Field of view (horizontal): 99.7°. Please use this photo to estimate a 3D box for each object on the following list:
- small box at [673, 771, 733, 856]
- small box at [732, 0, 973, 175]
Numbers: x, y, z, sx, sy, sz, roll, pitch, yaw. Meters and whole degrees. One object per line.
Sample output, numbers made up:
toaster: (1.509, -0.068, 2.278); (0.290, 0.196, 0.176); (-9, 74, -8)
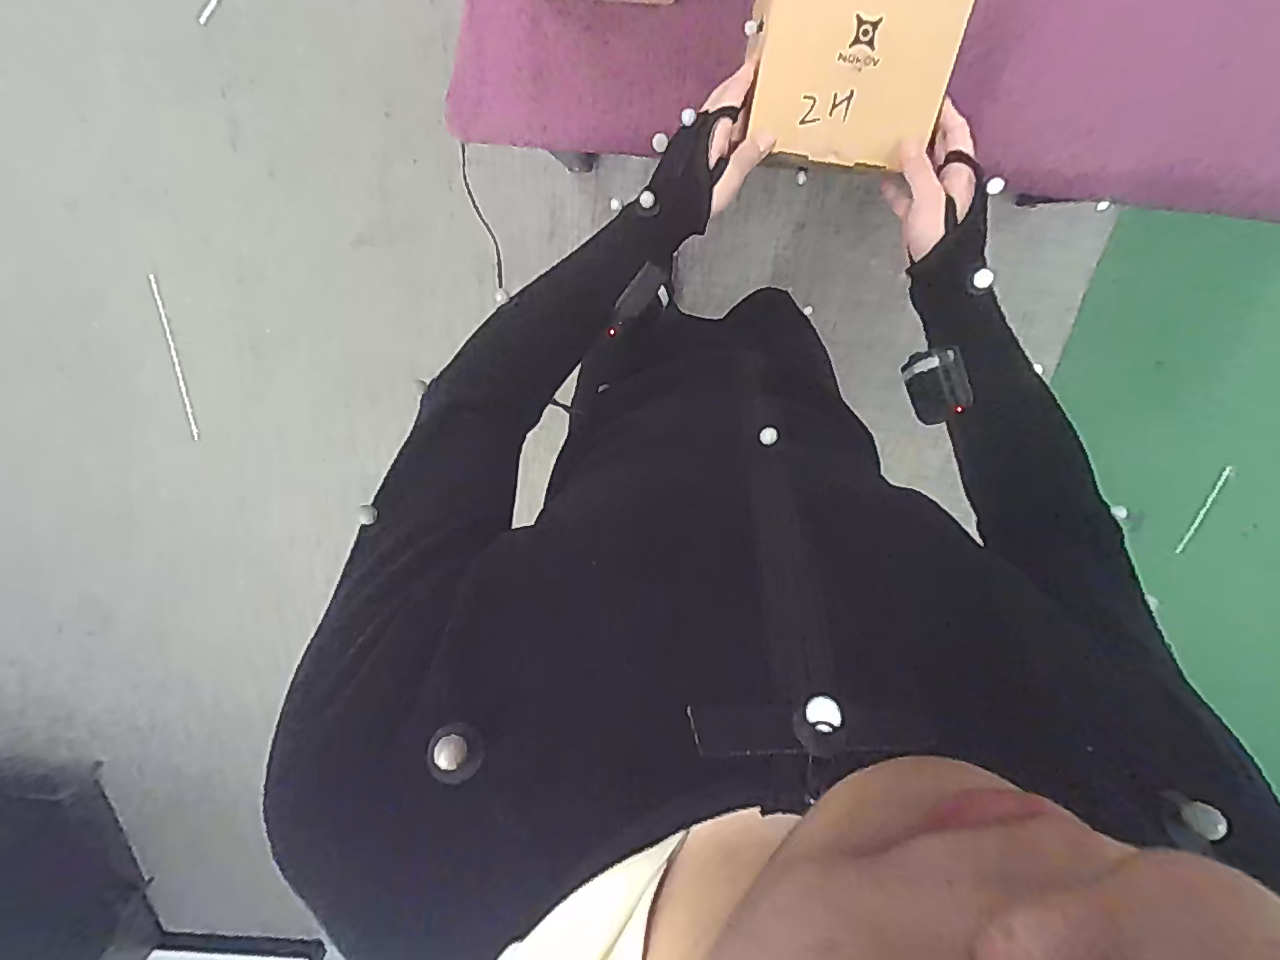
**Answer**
small box: (0.211, 1.142, 1.854); (0.168, 0.176, 0.179); (10, 114, -3)
small box: (0.191, -0.412, 0.527); (0.168, 0.176, 0.179); (8, 117, -1)
